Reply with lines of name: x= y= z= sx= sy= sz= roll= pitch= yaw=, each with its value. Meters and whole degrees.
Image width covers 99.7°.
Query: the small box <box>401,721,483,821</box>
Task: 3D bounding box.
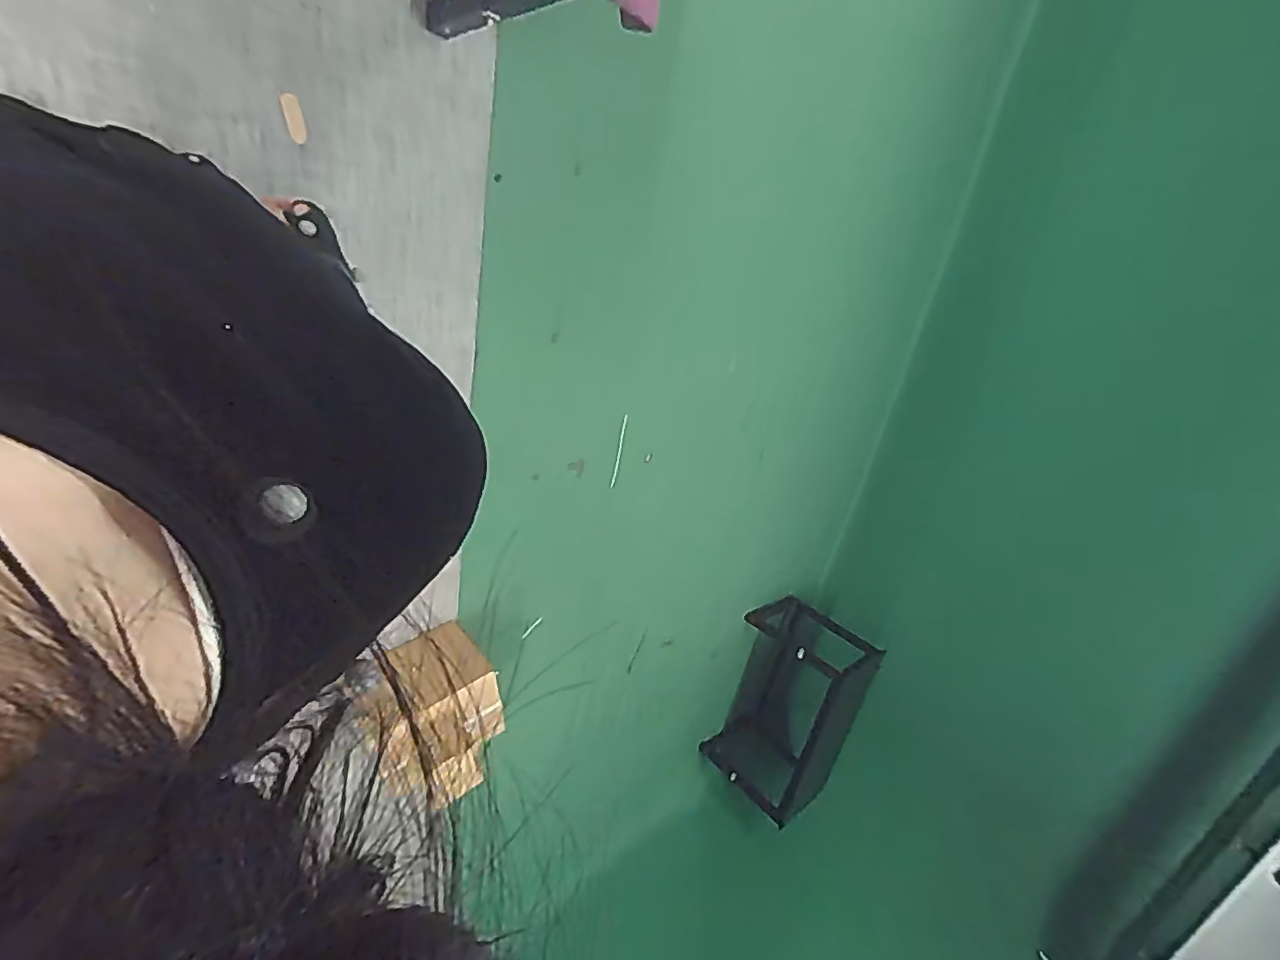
small box: x=-0.596 y=0.860 z=1.621 sx=0.168 sy=0.176 sz=0.179 roll=-23 pitch=127 yaw=-35

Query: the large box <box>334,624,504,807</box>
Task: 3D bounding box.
large box: x=-0.727 y=0.766 z=1.811 sx=0.408 sy=0.320 sz=0.320 roll=-25 pitch=130 yaw=-36
